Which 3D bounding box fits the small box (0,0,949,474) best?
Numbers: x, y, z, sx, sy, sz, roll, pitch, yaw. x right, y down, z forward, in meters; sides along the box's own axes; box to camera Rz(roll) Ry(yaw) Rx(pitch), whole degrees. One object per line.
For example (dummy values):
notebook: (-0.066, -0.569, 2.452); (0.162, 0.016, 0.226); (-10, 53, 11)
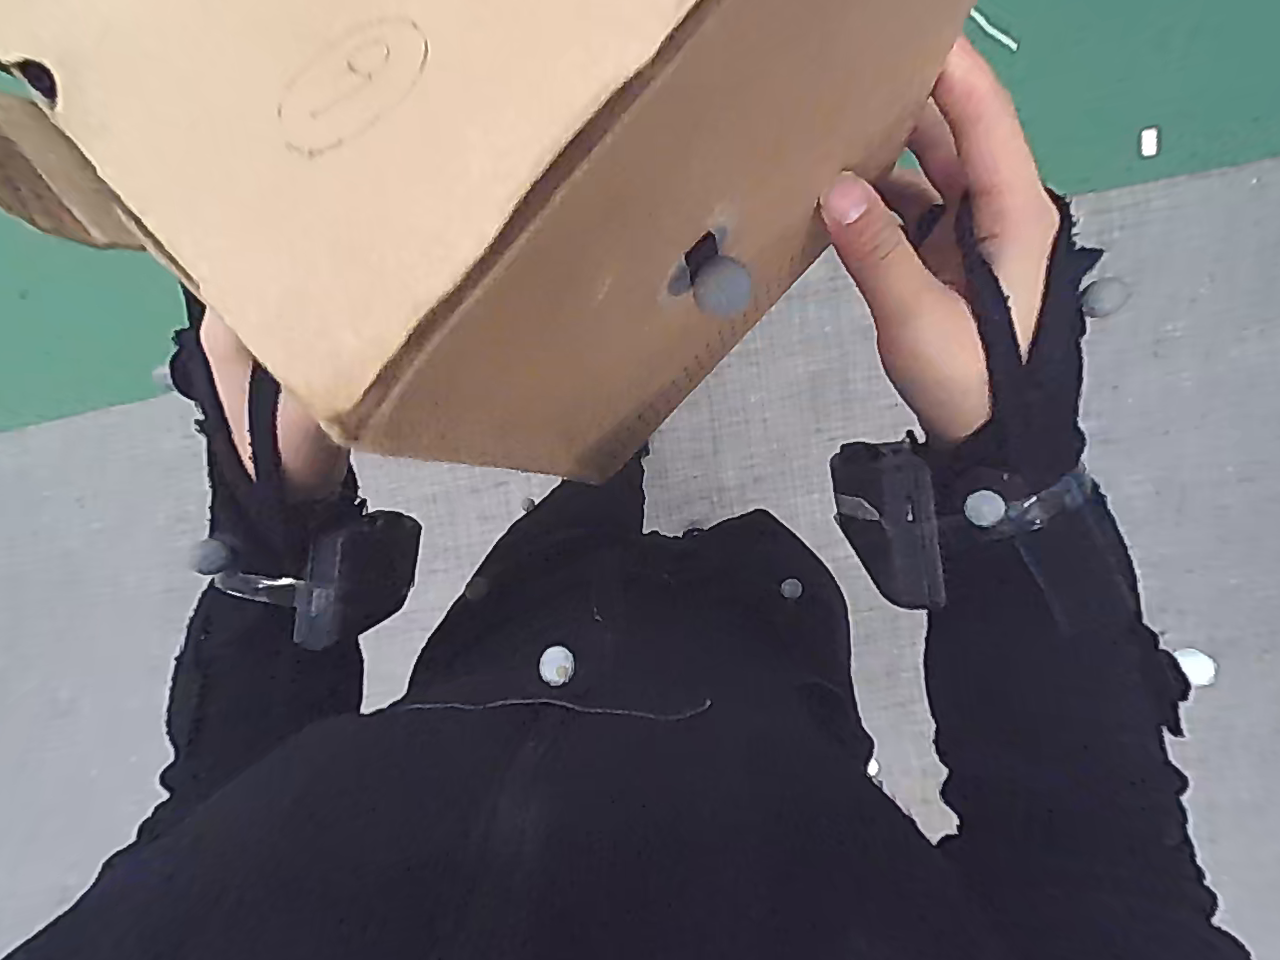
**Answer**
small box: (-0.027, -0.115, 0.176); (0.168, 0.176, 0.179); (44, 96, 8)
